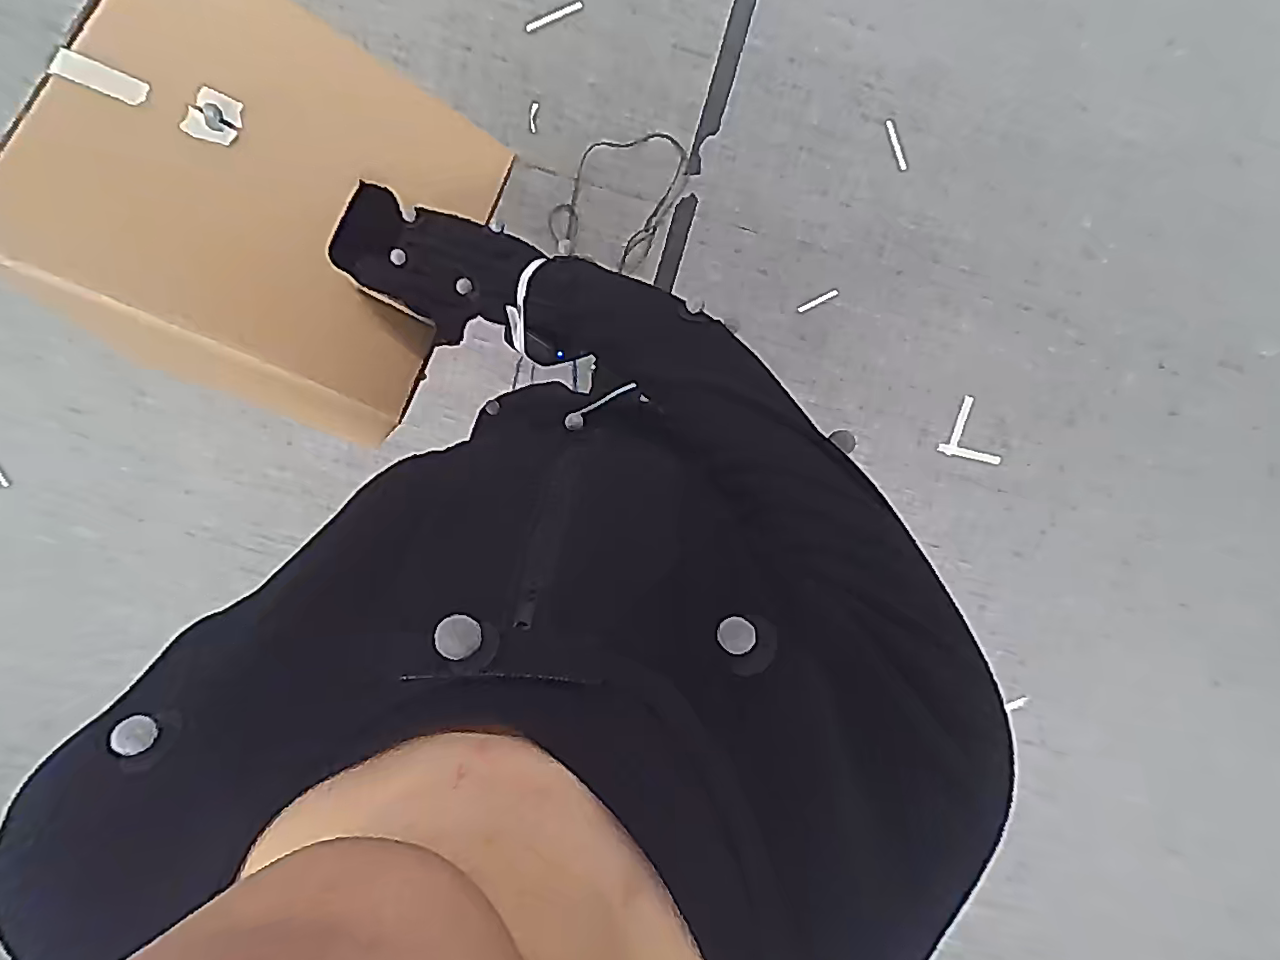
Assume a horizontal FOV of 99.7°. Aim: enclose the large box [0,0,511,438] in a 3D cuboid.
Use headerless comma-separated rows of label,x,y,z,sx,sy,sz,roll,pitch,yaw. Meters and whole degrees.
large box,-0.401,-0.259,0.655,0.320,0.408,0.320,24,78,-27
